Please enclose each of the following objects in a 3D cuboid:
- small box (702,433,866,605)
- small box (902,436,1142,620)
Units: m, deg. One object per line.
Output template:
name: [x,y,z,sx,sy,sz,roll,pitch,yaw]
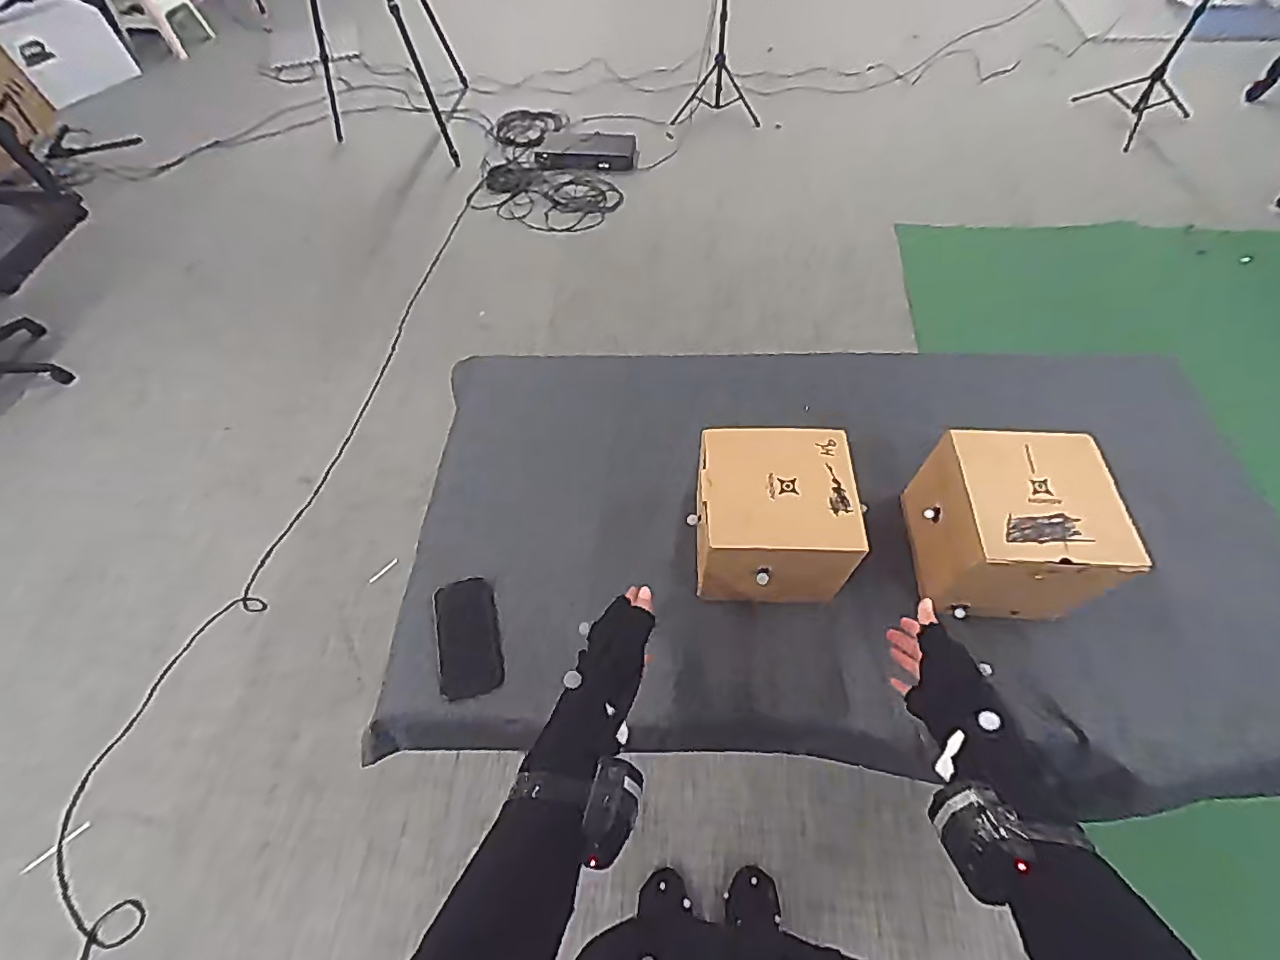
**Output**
small box: [0.169,0.055,0.701,0.179,0.176,0.168,1,57,4]
small box: [0.455,0.065,0.682,0.168,0.176,0.179,3,57,4]
